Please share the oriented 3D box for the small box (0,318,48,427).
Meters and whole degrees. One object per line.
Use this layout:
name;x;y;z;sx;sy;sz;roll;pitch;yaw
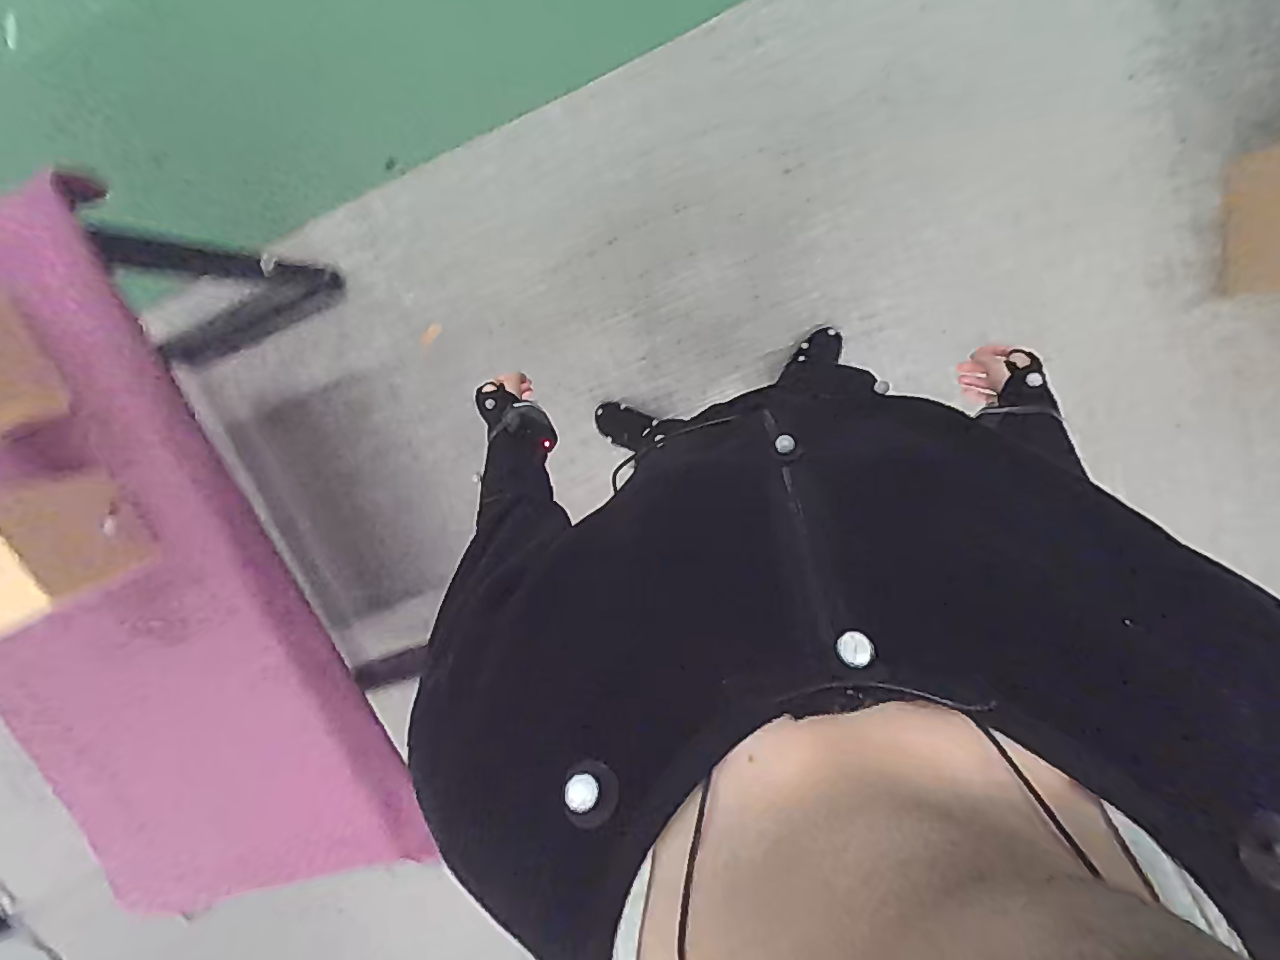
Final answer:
small box;-0.972;-0.138;0.715;0.168;0.176;0.179;-18;103;9
